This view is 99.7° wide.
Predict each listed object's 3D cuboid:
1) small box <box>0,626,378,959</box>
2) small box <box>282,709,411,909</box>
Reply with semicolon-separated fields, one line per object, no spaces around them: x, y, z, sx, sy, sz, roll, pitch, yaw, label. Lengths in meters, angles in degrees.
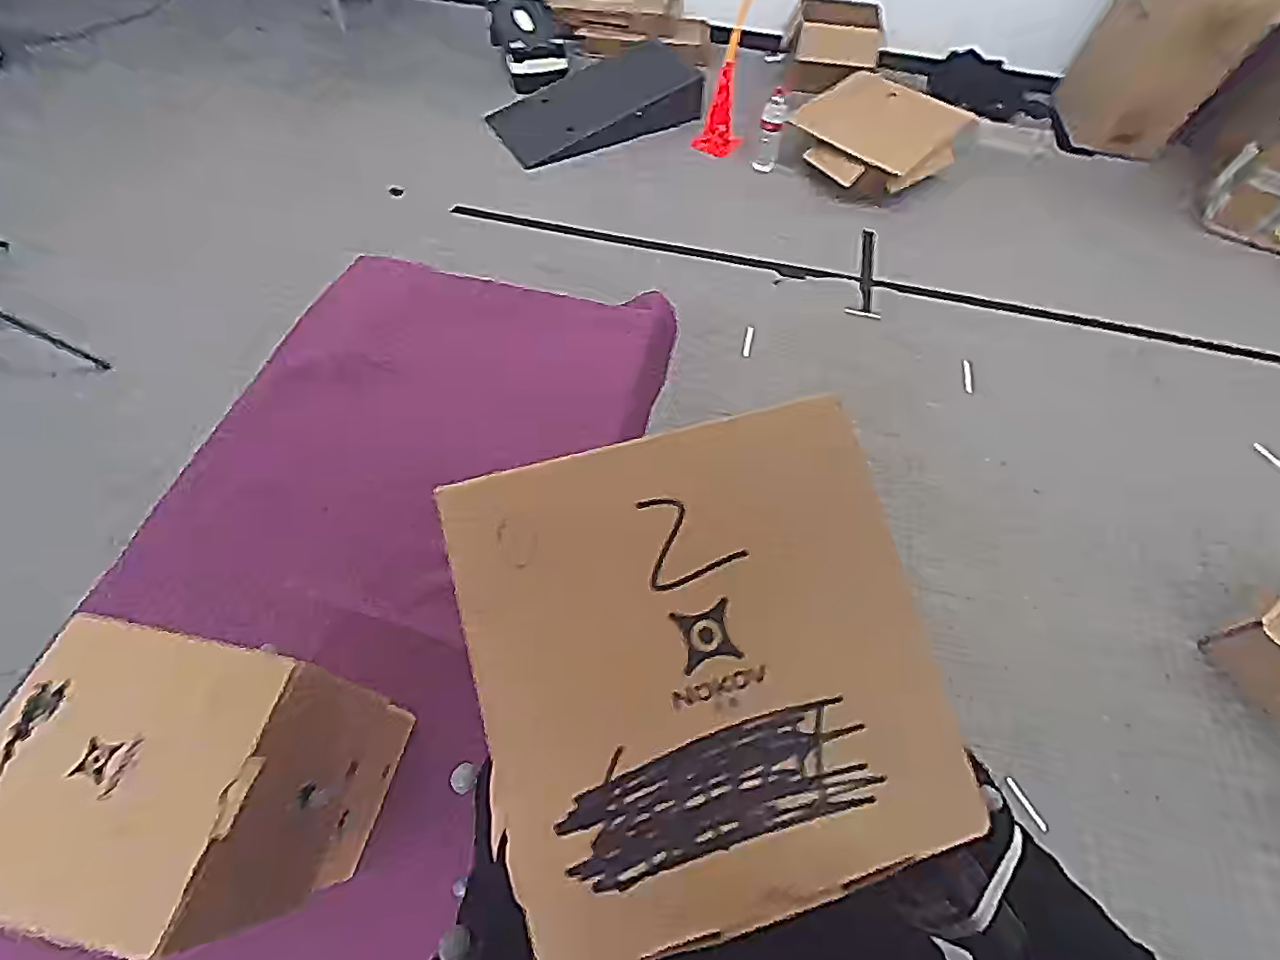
-0.337;0.228;0.414;0.179;0.176;0.168;11;60;3;small box
-0.368;0.306;0.557;0.179;0.176;0.168;12;60;5;small box
